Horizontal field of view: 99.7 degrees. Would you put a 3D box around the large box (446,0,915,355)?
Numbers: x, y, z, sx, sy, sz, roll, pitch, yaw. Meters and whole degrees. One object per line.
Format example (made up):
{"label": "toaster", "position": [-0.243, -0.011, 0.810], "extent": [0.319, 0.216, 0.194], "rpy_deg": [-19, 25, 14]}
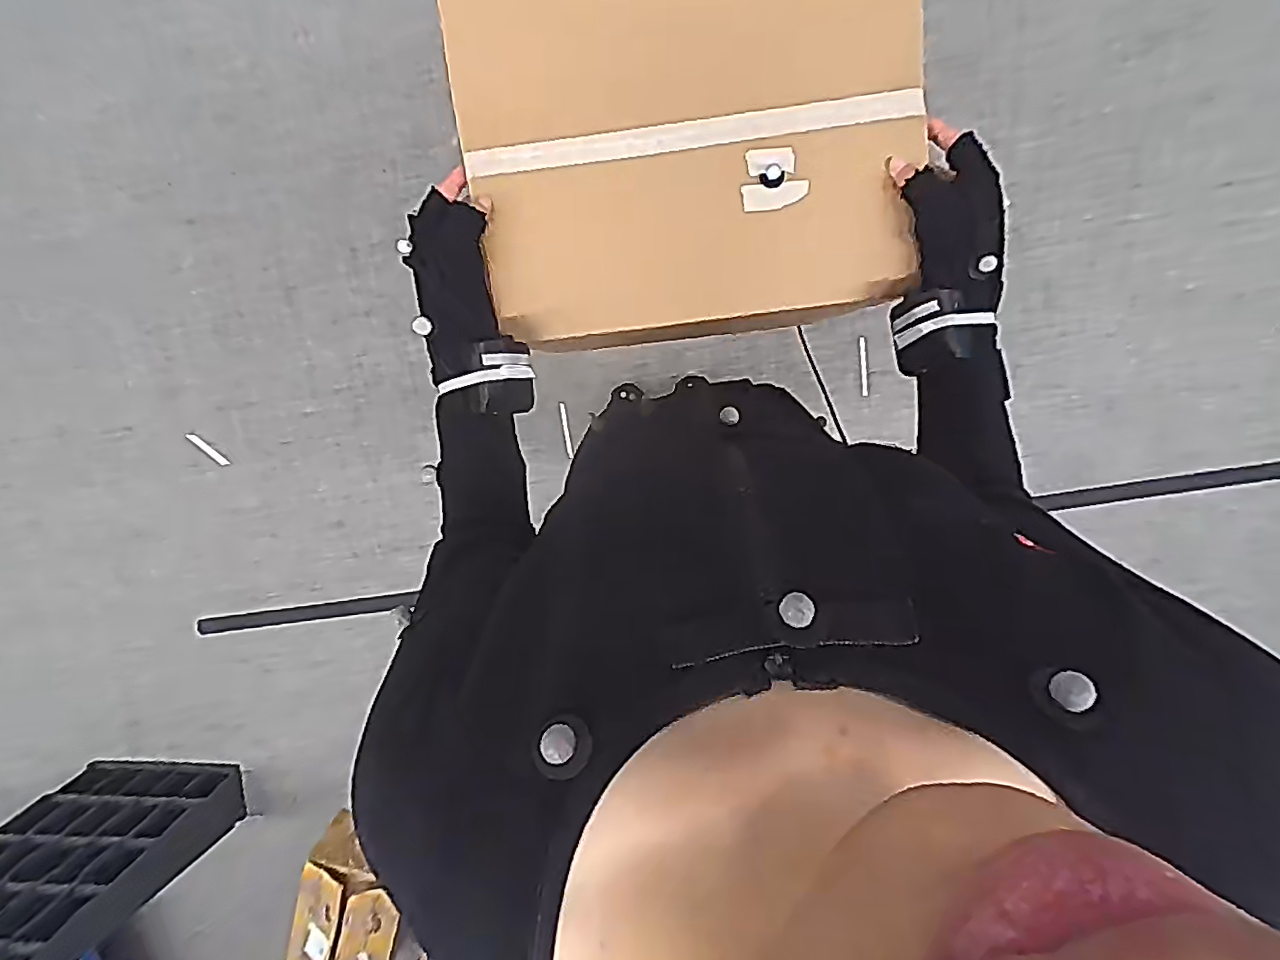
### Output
{"label": "large box", "position": [0.044, -0.335, 0.636], "extent": [0.408, 0.320, 0.320], "rpy_deg": [-7, 101, 1]}
